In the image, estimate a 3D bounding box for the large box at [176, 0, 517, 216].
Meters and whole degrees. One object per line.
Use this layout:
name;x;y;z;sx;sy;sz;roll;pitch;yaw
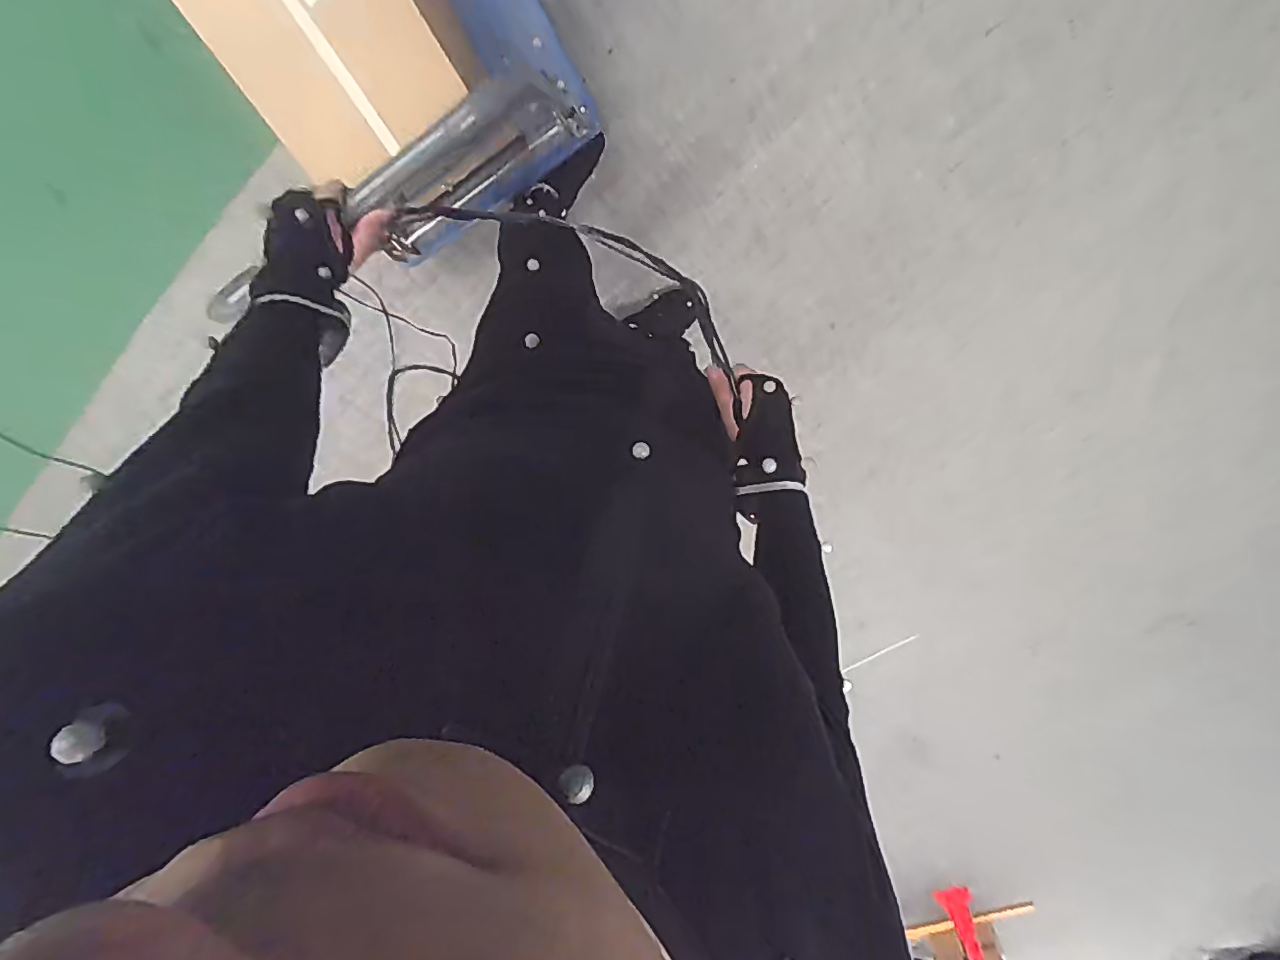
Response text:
large box;-0.480;-0.747;0.948;0.320;0.320;0.408;-26;117;15
